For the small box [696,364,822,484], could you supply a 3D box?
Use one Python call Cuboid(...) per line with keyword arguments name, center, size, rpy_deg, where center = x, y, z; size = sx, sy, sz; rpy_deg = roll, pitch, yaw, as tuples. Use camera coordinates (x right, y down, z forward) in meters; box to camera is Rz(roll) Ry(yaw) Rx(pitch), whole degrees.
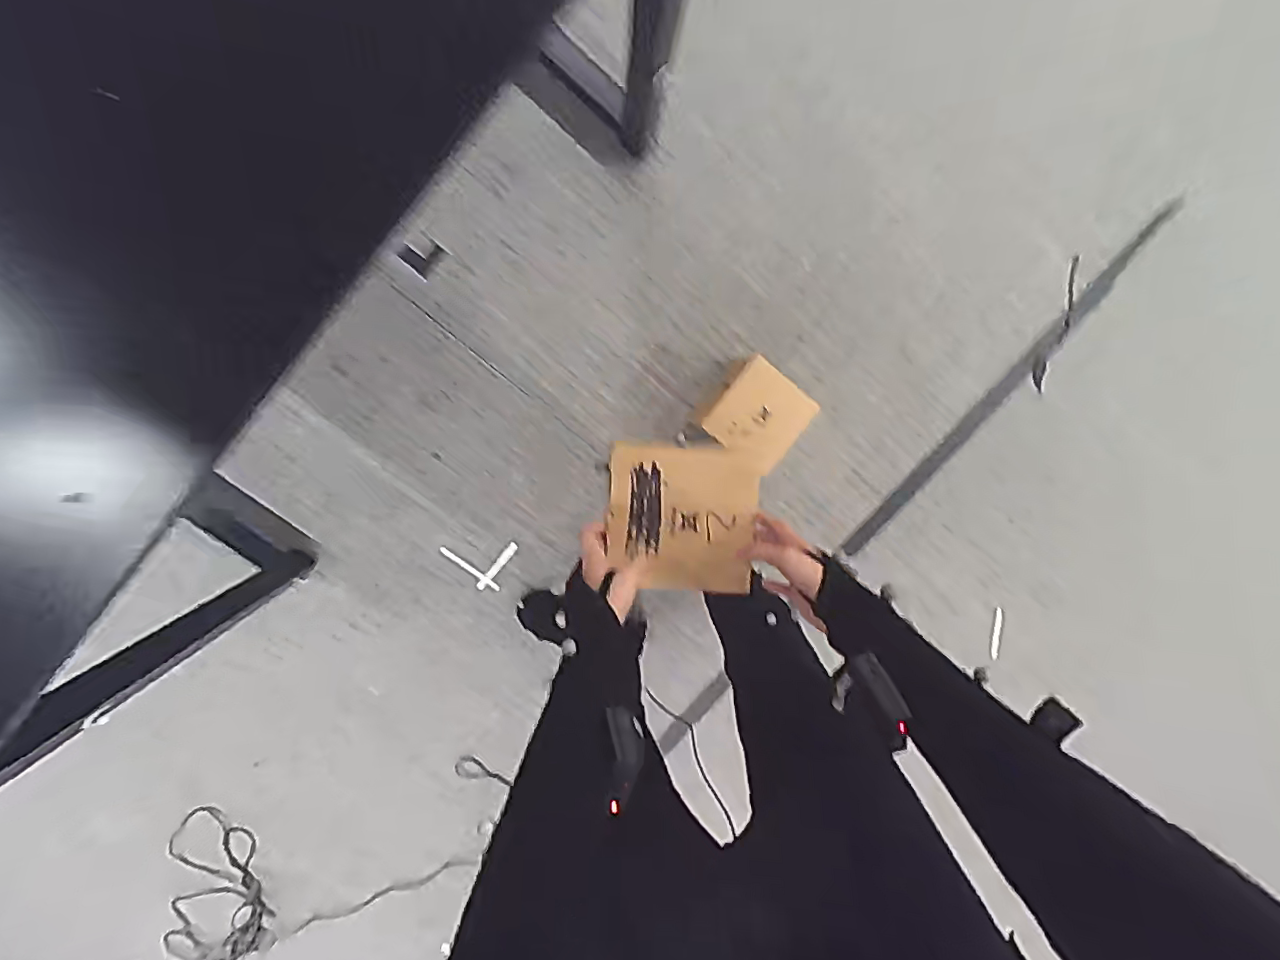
Cuboid(name="small box", center=(0.233, -0.121, 1.116), size=(0.168, 0.176, 0.179), rpy_deg=(37, 96, -9))
